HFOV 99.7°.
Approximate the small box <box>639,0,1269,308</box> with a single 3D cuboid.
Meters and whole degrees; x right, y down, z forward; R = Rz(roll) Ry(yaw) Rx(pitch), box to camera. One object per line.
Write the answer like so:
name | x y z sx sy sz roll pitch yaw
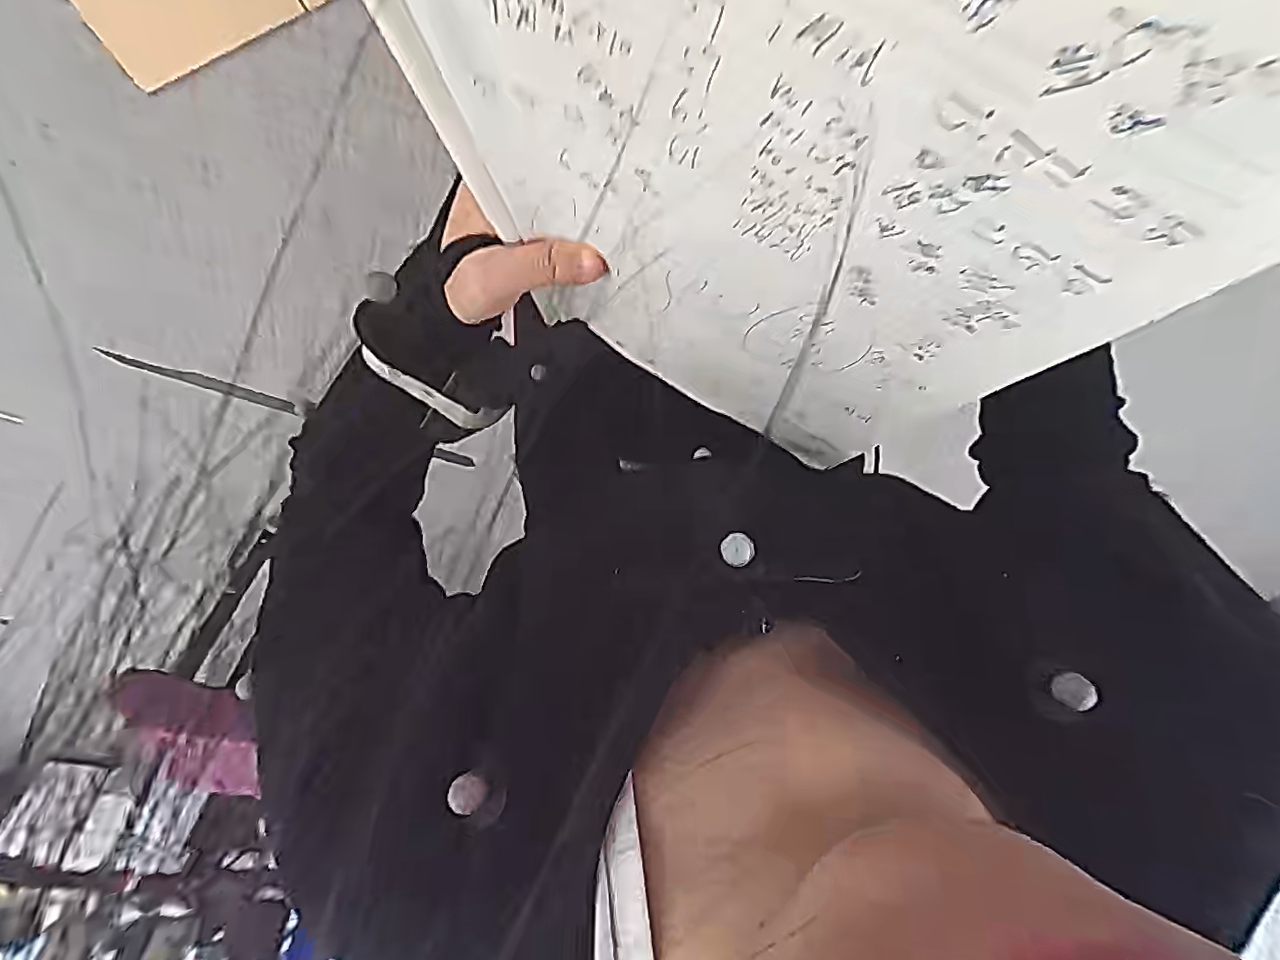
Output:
small box | 0.095 -0.192 0.214 0.168 0.176 0.179 -1 135 -10
